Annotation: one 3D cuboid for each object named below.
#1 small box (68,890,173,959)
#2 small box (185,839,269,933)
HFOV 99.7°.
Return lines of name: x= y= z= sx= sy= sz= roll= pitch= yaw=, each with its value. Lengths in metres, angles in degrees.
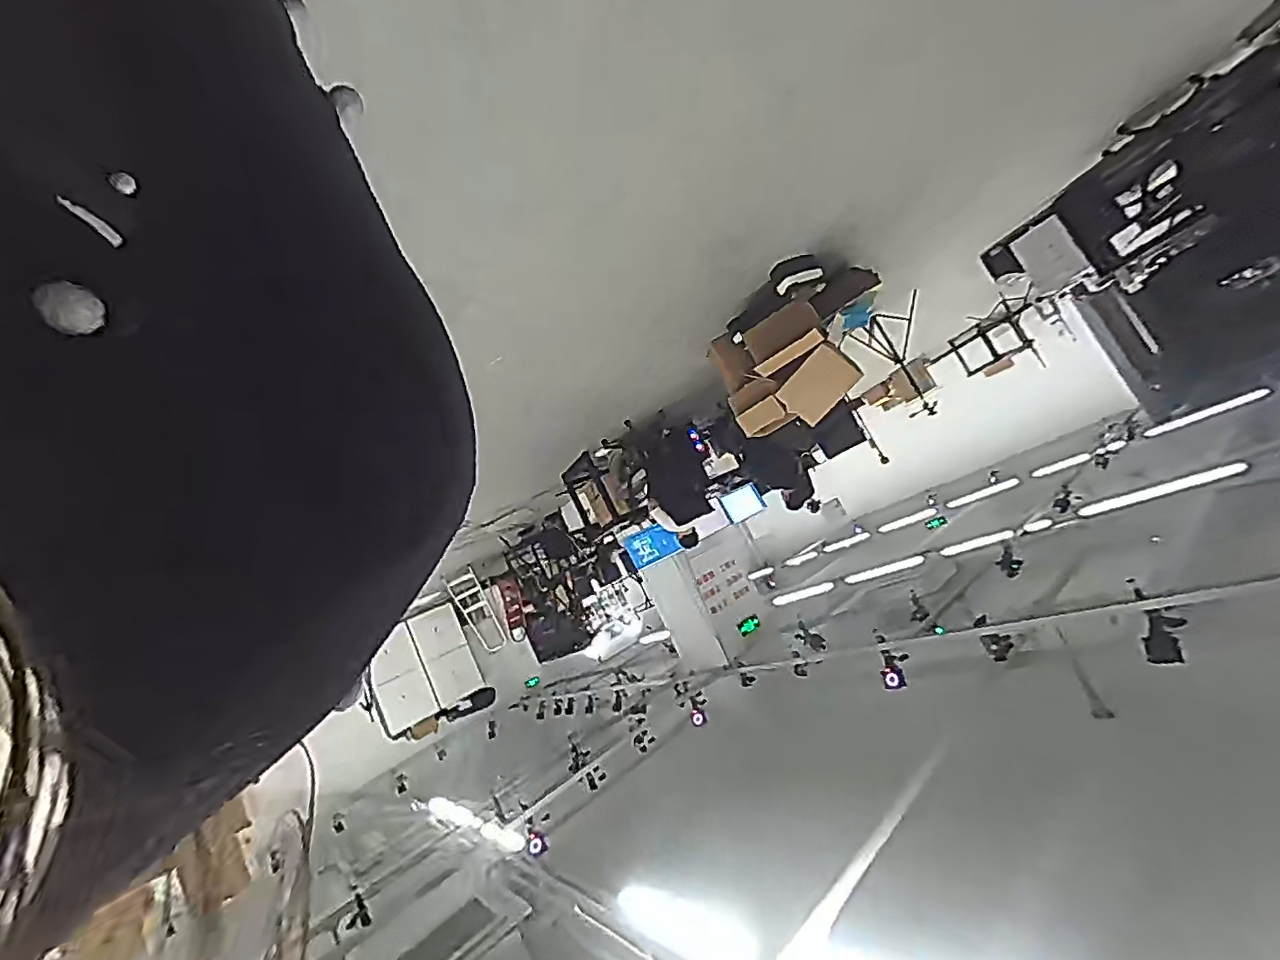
small box: x=-1.556 y=1.385 z=1.620 sx=0.179 sy=0.176 sz=0.168 roll=-23 pitch=169 yaw=-33
small box: x=-1.345 y=1.314 z=1.765 sx=0.168 sy=0.176 sz=0.179 roll=-23 pitch=167 yaw=-34
